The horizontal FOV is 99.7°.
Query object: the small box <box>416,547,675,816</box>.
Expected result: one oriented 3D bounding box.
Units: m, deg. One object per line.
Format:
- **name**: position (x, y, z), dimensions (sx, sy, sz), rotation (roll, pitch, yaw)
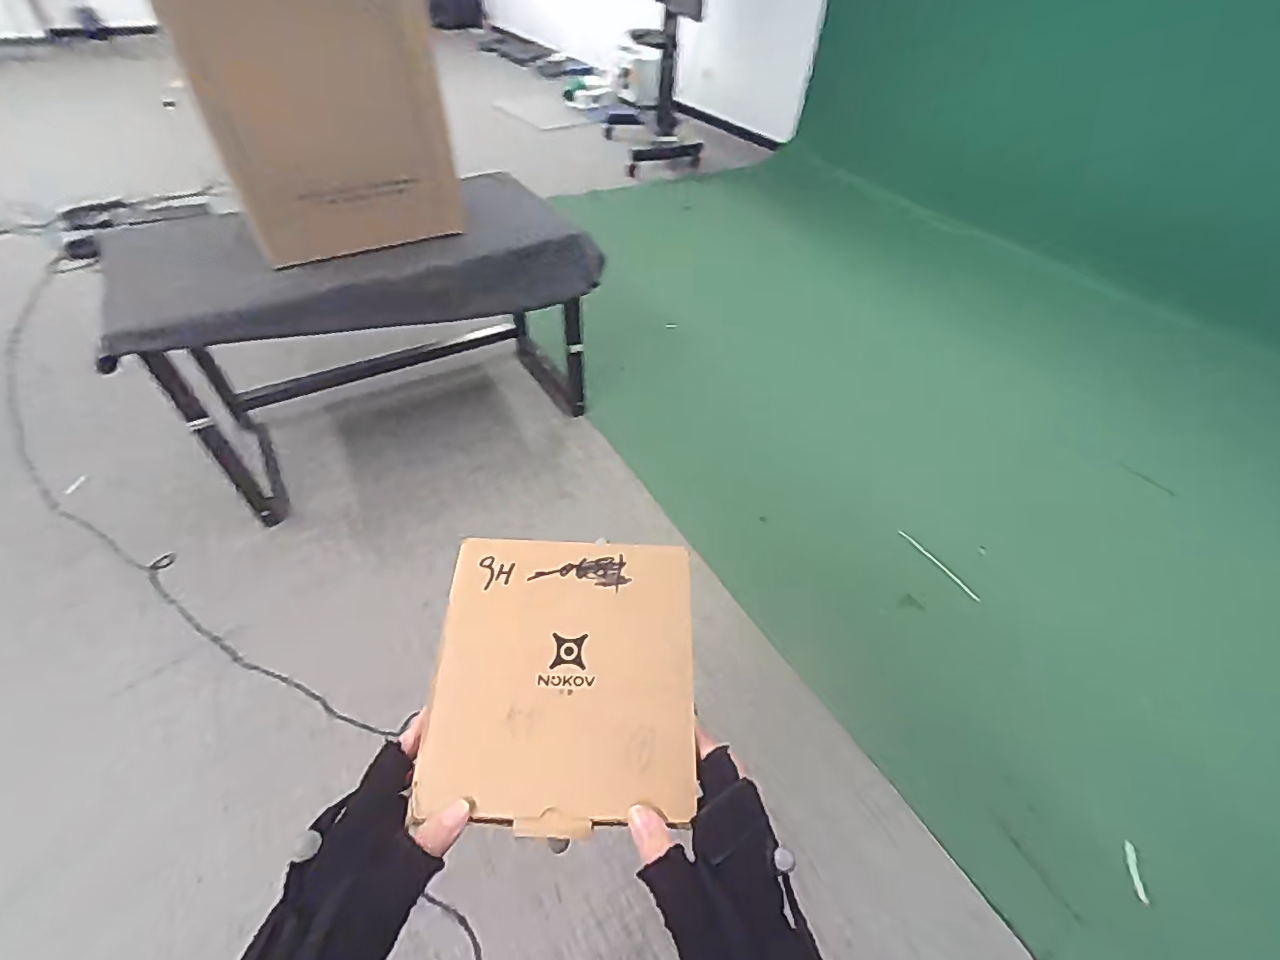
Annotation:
- **small box**: position (-0.062, 0.168, 0.444), dimensions (0.168, 0.176, 0.179), rotation (0, 59, -3)
